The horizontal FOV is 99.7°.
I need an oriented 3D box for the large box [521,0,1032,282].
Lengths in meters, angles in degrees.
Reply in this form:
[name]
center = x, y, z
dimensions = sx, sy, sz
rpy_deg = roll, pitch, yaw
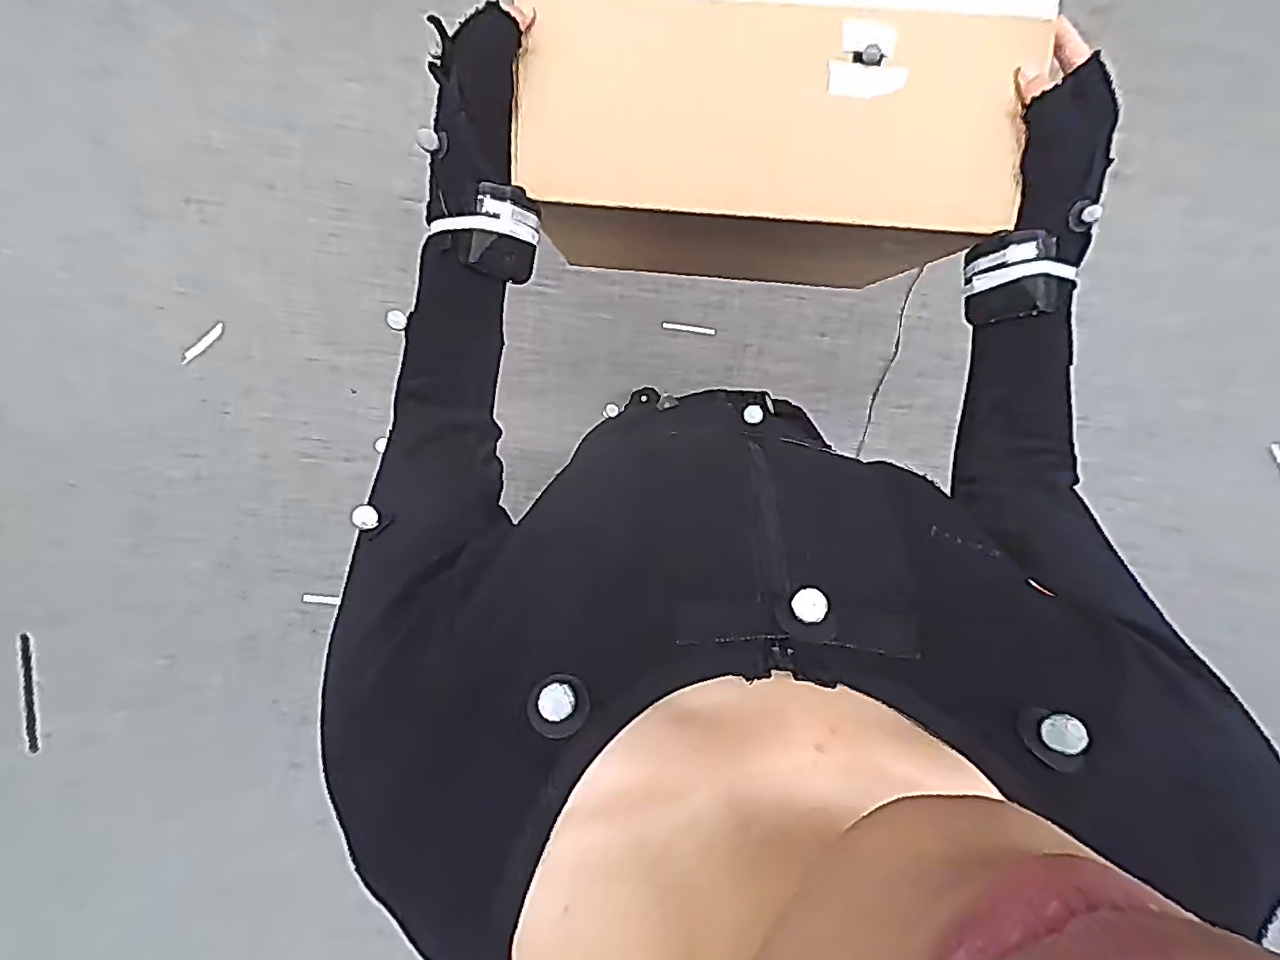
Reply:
[large box]
center = 0.105, -0.400, 0.567
dimensions = 0.408, 0.320, 0.320
rpy_deg = 4, 103, -1
